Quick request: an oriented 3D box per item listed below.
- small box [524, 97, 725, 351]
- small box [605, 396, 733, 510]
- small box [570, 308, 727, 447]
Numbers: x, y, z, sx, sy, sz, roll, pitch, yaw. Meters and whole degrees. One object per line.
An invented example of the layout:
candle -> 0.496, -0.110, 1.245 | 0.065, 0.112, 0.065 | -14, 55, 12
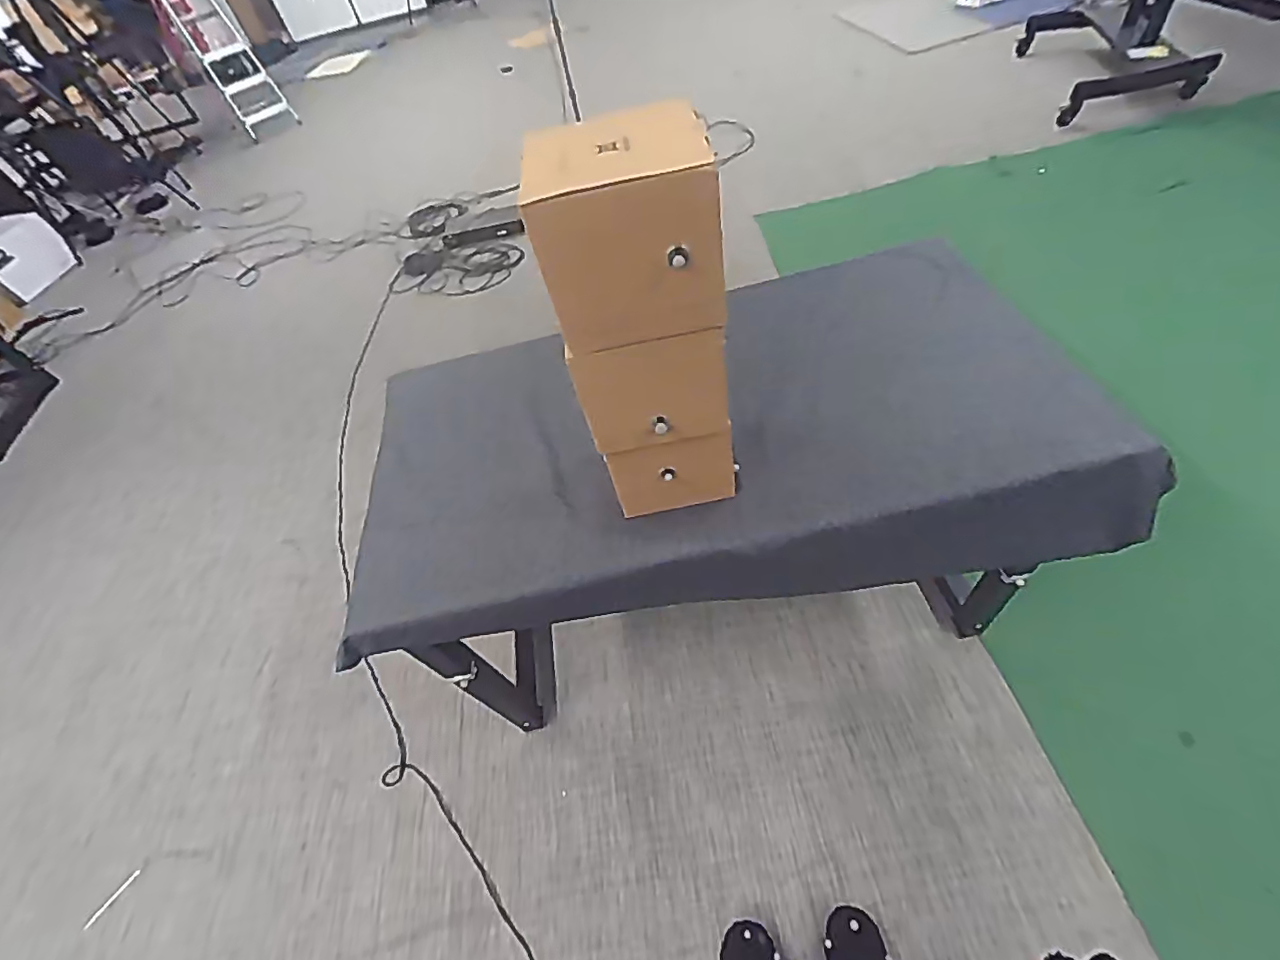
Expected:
small box -> -0.008, -0.262, 0.571 | 0.179, 0.176, 0.168 | -11, 50, 5
small box -> 0.043, -0.075, 0.832 | 0.179, 0.176, 0.168 | -12, 51, 4
small box -> 0.013, -0.165, 0.700 | 0.179, 0.176, 0.168 | -11, 51, 3
